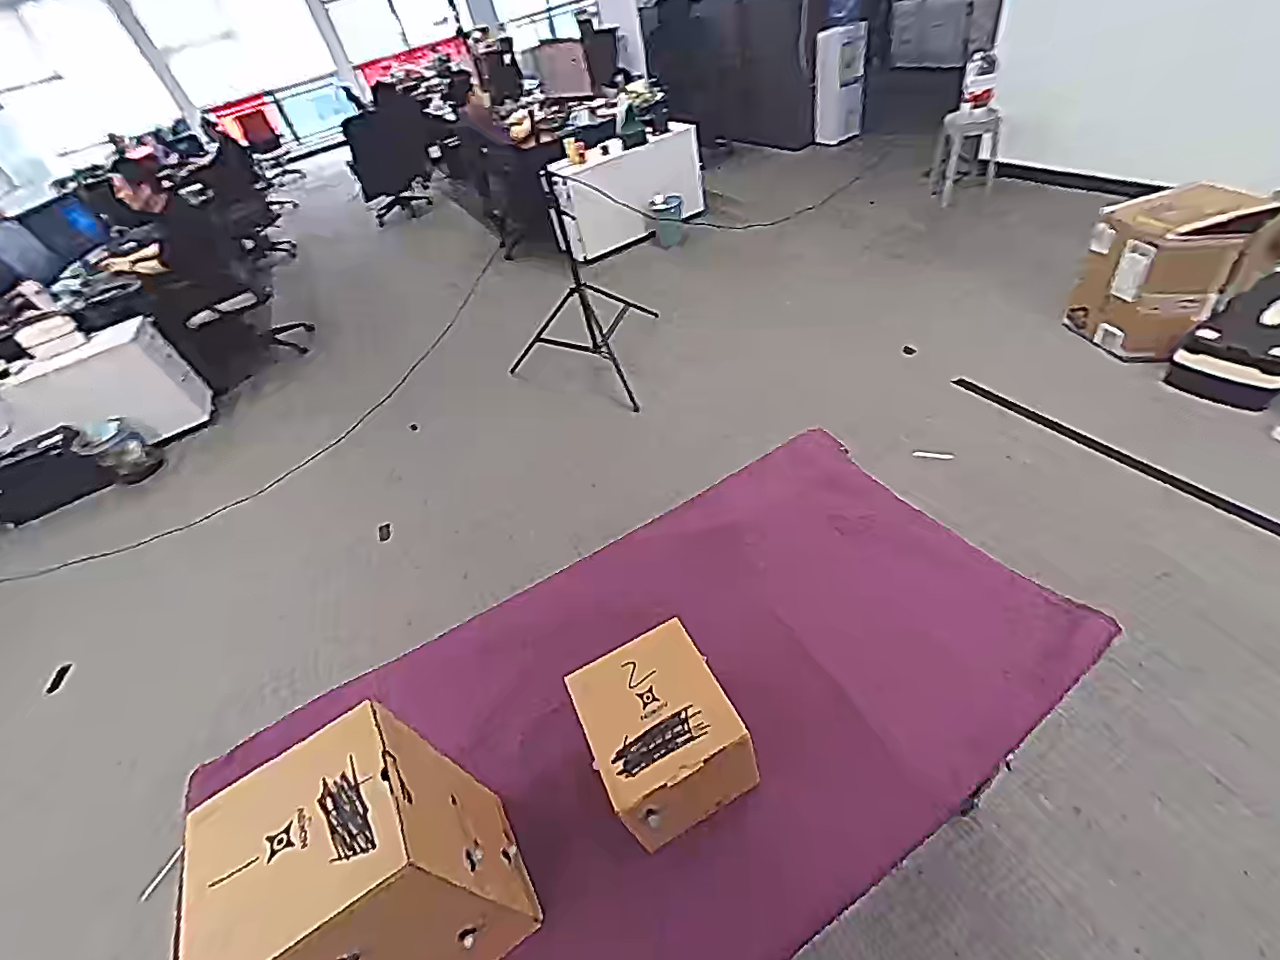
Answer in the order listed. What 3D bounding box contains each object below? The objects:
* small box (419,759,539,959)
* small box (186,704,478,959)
[{"bbox_3d":[-0.243,0.472,0.622,0.179,0.176,0.168,-30,45,-16],"label":"small box"},{"bbox_3d":[-0.272,0.357,0.508,0.179,0.176,0.168,-31,44,-16],"label":"small box"}]
